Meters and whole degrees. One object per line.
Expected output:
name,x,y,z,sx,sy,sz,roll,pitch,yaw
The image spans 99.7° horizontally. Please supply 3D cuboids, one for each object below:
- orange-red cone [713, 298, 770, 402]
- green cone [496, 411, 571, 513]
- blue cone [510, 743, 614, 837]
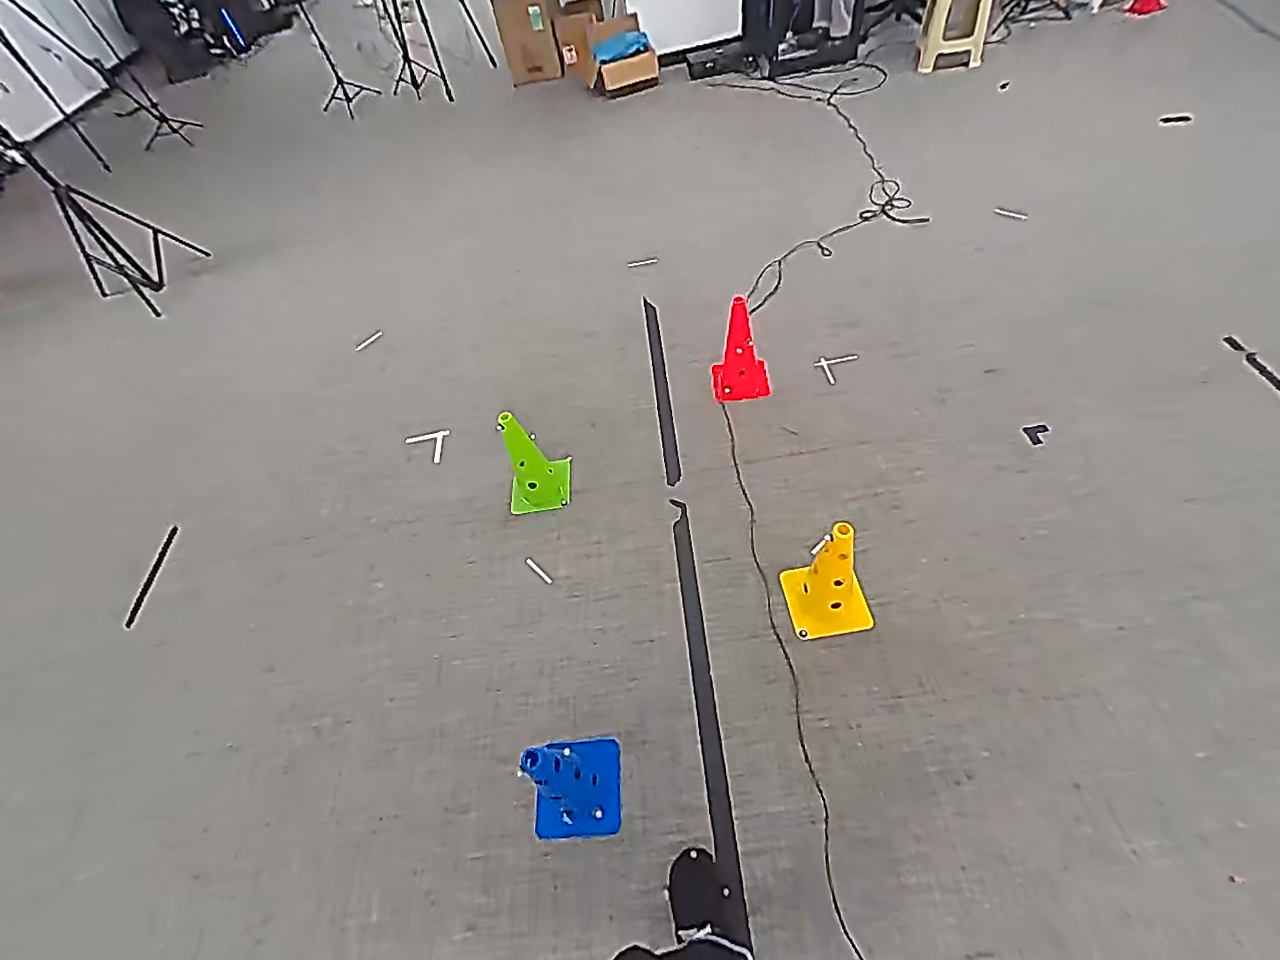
orange-red cone,0.345,-0.463,1.845,0.199,0.360,0.198,-4,54,7
green cone,-0.361,-0.085,1.696,0.202,0.368,0.200,-9,52,6
blue cone,-0.182,0.629,1.145,0.192,0.380,0.193,-6,52,8
